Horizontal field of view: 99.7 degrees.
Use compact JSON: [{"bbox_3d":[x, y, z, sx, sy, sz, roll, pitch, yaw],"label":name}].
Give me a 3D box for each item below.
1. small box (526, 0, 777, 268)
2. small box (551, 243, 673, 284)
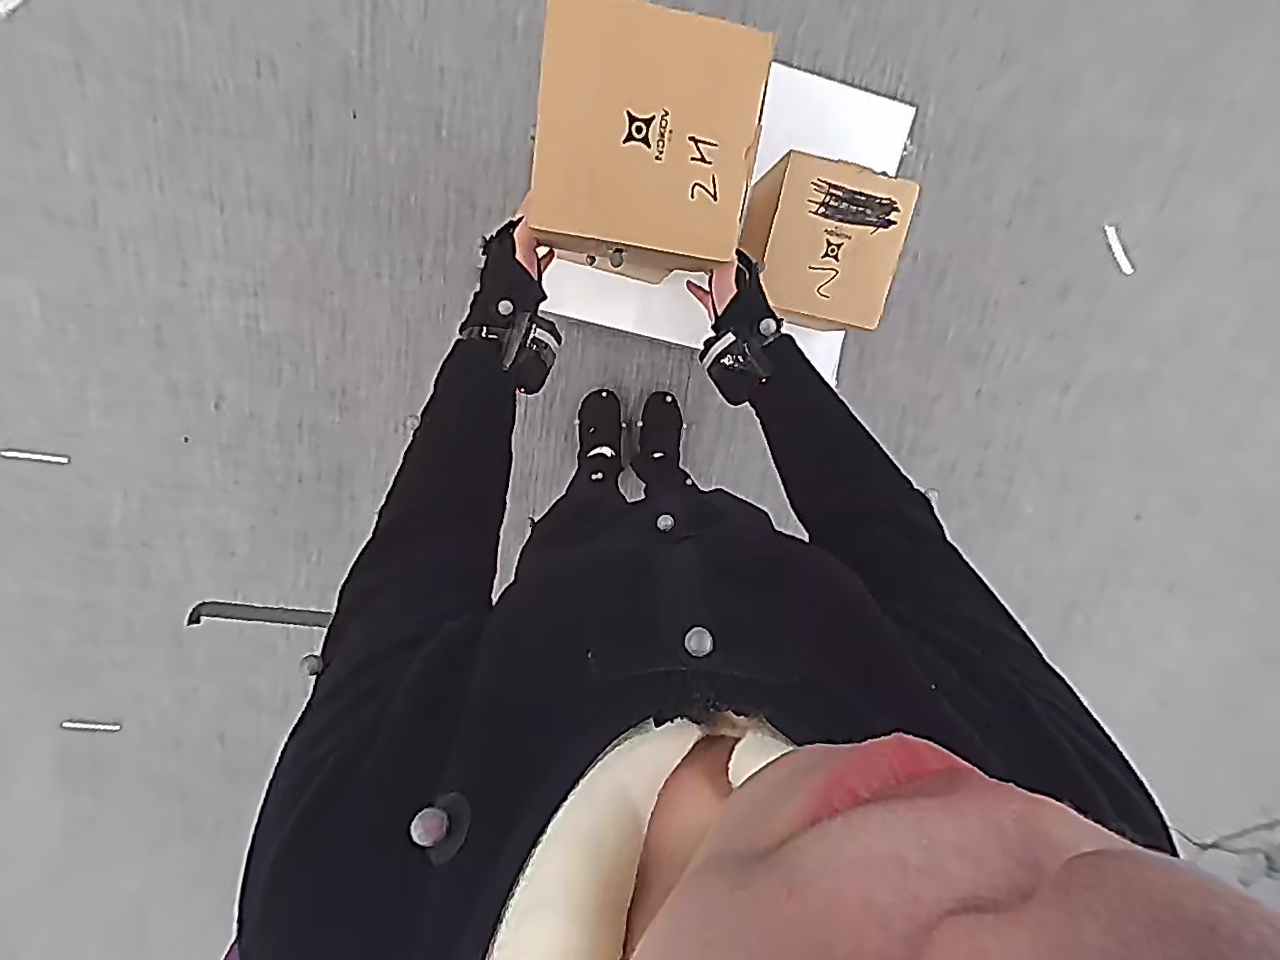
[{"bbox_3d":[-0.001,-0.295,0.496,0.179,0.176,0.168,7,108,-9],"label":"small box"},{"bbox_3d":[-0.023,-0.368,0.694,0.168,0.176,0.179,13,103,-7],"label":"small box"}]
